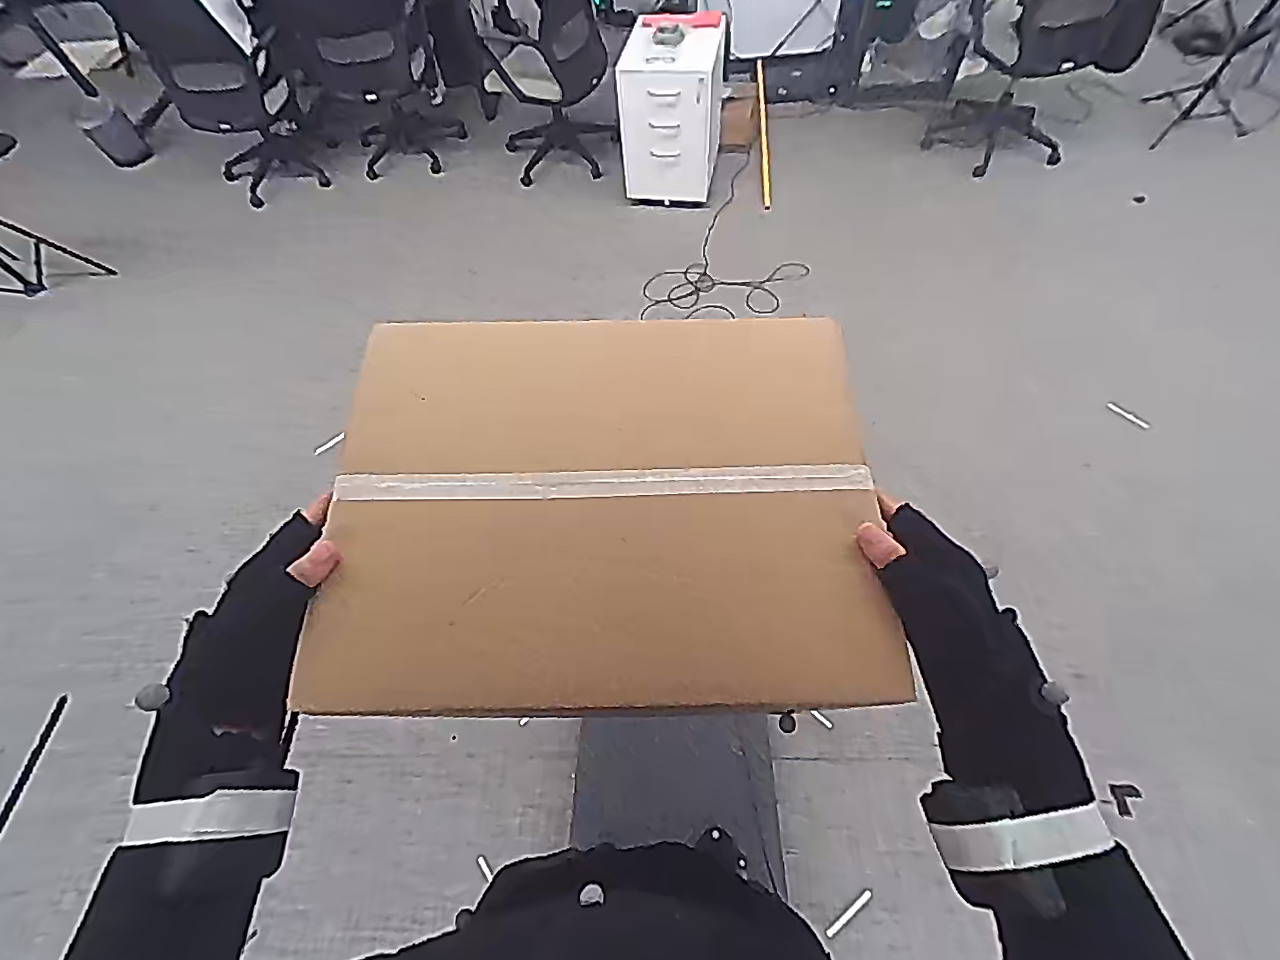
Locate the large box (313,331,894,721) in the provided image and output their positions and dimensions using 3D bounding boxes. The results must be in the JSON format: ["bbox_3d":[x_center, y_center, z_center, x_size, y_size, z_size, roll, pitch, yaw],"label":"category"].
[{"bbox_3d":[-0.025,0.072,0.559,0.408,0.320,0.320,-1,65,0],"label":"large box"}]
